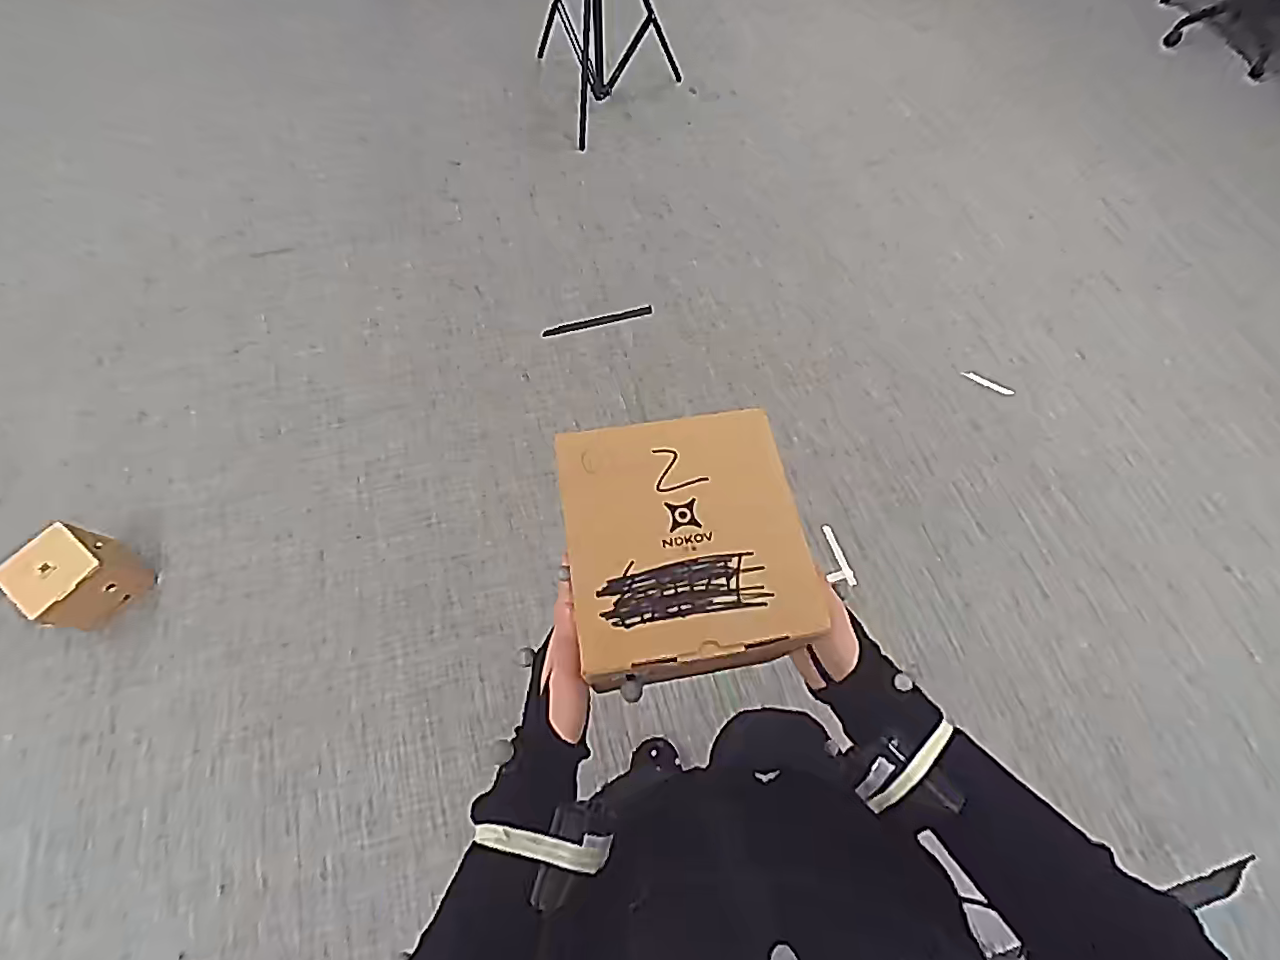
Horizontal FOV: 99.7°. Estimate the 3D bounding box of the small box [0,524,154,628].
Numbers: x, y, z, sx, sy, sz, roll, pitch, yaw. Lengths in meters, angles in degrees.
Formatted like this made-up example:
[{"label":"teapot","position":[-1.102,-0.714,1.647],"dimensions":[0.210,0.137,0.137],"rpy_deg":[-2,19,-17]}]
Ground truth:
[{"label":"small box","position":[-1.349,0.240,1.306],"dimensions":[0.179,0.176,0.168],"rpy_deg":[34,69,13]}]
